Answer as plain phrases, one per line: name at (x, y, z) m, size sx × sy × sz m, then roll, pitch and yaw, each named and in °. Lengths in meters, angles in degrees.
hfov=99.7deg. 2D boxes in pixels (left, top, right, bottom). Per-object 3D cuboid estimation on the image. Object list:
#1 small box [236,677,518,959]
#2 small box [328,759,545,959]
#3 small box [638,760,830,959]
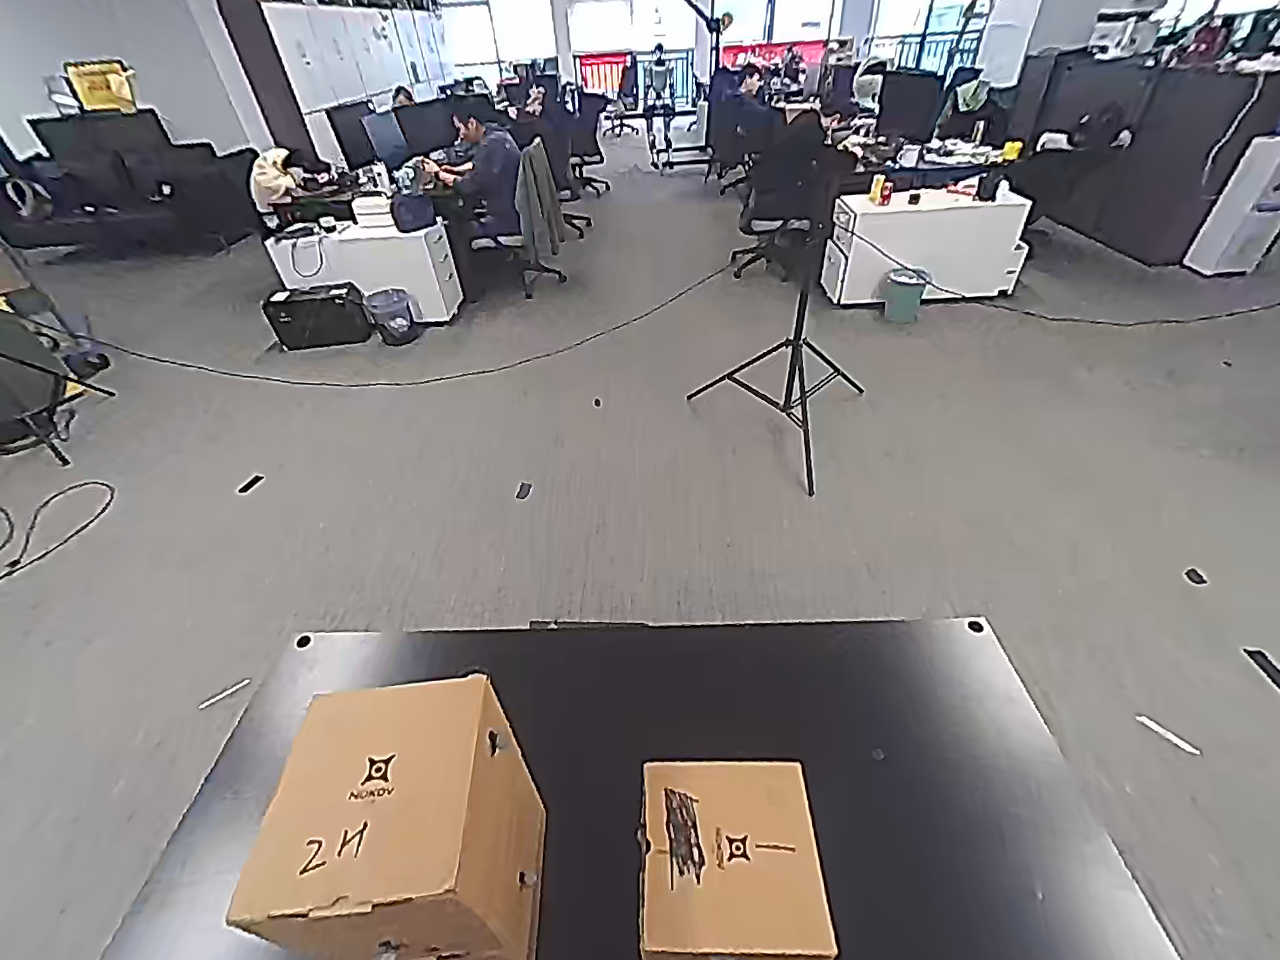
small box at (-0.216, 0.315, 0.508) m, size 0.168 × 0.176 × 0.179 m, roll -6°, pitch 40°, yaw -1°
small box at (-0.207, 0.445, 0.611) m, size 0.168 × 0.176 × 0.179 m, roll -5°, pitch 40°, yaw 0°
small box at (0.092, 0.432, 0.598) m, size 0.179 × 0.176 × 0.168 m, roll -1°, pitch 40°, yaw 3°
